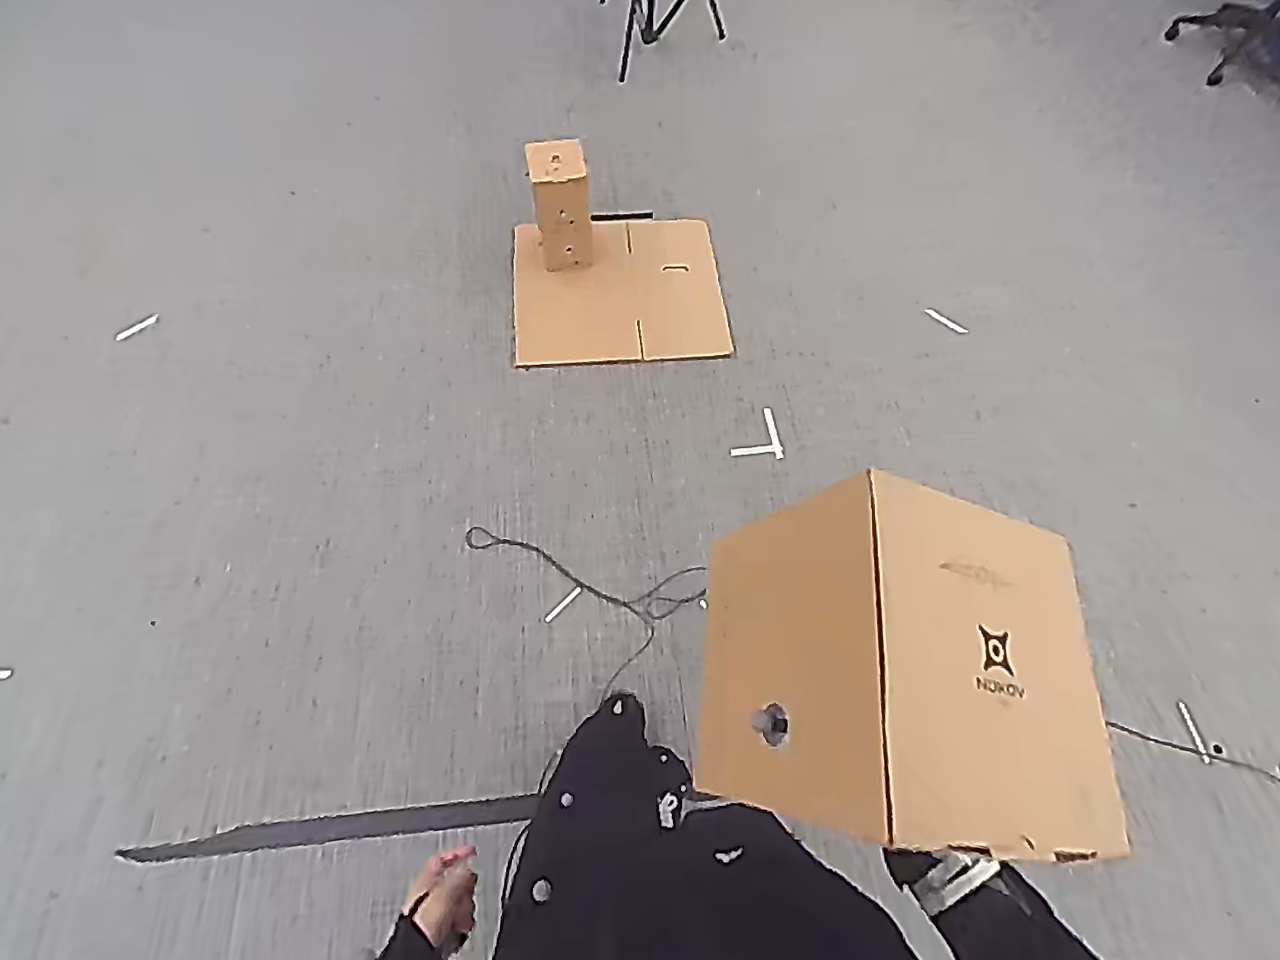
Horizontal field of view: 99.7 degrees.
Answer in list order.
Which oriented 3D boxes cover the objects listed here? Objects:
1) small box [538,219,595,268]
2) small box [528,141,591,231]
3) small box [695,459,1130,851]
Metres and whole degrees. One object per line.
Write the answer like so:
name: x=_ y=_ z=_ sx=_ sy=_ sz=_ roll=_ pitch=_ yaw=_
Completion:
small box: x=-0.247 y=-0.829 z=1.804 sx=0.168 sy=0.176 sz=0.179 roll=-11 pitch=67 yaw=-8
small box: x=-0.244 y=-0.898 z=1.654 sx=0.168 sy=0.176 sz=0.179 roll=-9 pitch=66 yaw=-6
small box: x=0.148 y=0.115 z=0.348 sx=0.168 sy=0.176 sz=0.179 roll=16 pitch=63 yaw=-20
